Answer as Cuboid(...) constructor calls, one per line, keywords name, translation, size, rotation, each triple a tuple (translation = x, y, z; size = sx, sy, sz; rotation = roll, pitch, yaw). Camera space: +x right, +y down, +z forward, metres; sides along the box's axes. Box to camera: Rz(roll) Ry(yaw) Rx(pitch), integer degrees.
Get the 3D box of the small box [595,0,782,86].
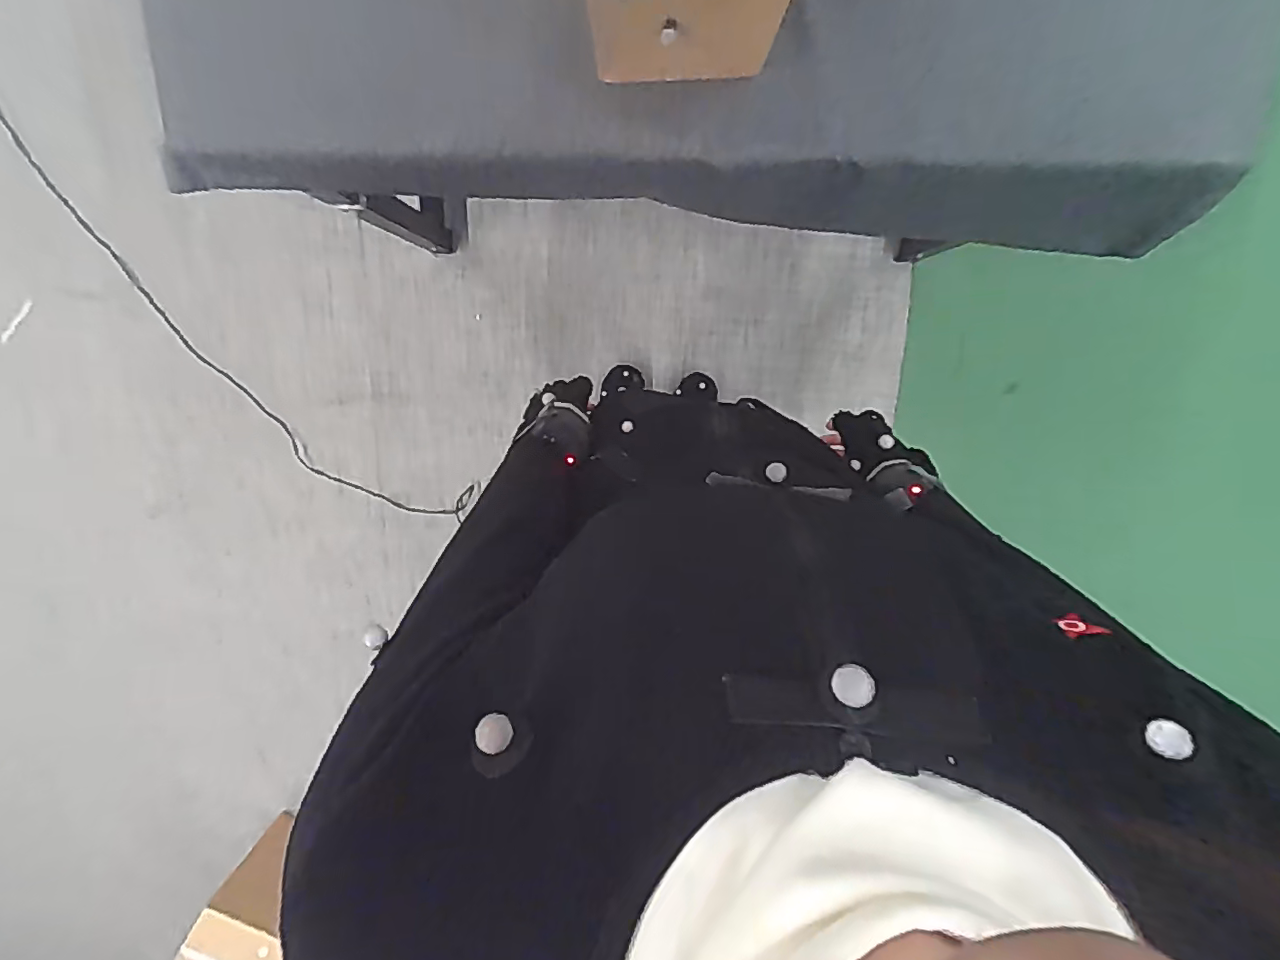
Cuboid(name="small box", translation=(0.041, -0.502, 0.502), size=(0.179, 0.176, 0.168), rotation=(-5, 100, 2))
